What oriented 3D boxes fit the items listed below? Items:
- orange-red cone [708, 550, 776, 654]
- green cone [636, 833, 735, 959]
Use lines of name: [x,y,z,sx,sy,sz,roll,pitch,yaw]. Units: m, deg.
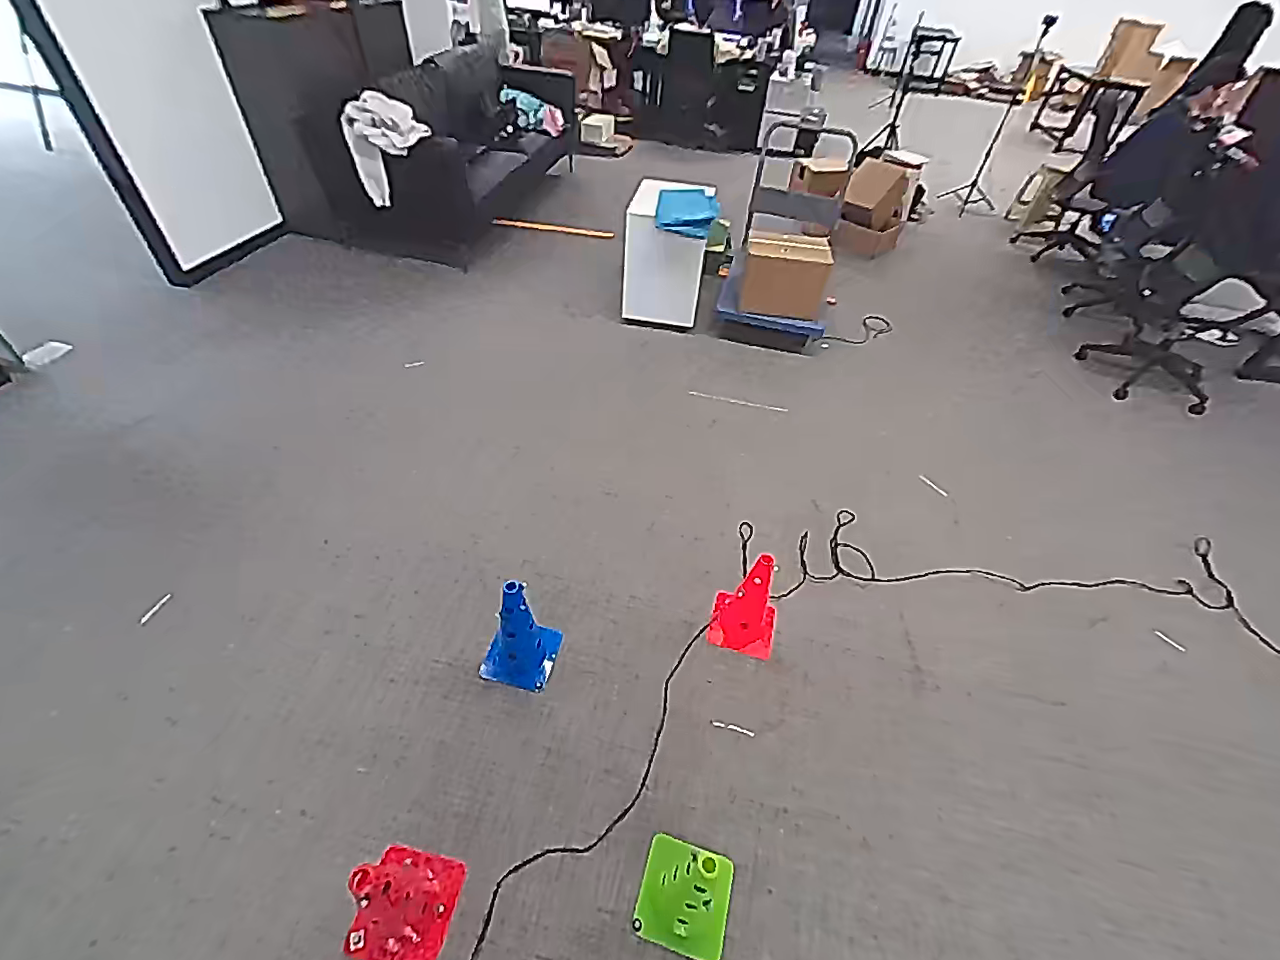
orange-red cone: [0.336,0.331,1.609,0.198,0.360,0.199,15,47,11]
green cone: [0.120,0.815,1.105,0.200,0.368,0.202,15,45,8]
